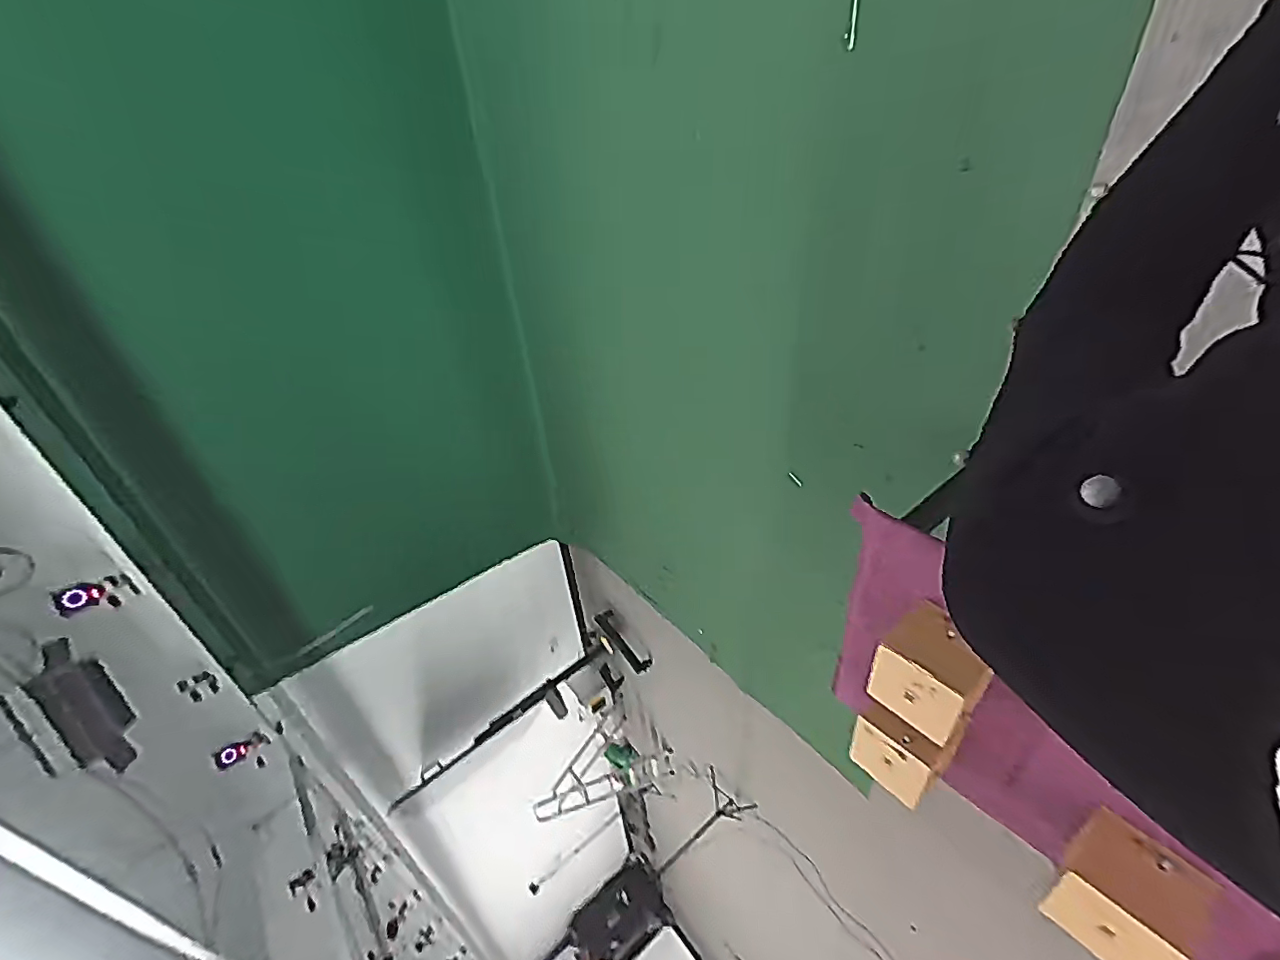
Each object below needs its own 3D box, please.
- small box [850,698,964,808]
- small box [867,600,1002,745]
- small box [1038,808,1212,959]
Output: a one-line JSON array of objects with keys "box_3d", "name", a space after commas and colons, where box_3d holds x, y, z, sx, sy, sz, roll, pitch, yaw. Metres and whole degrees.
[{"box_3d": [0.614, 0.597, 1.247, 0.168, 0.176, 0.179, 31, 138, 42], "name": "small box"}, {"box_3d": [0.594, 0.383, 1.096, 0.168, 0.176, 0.179, 33, 141, 40], "name": "small box"}, {"box_3d": [0.866, 0.745, 0.970, 0.168, 0.176, 0.179, 32, 138, 41], "name": "small box"}]
